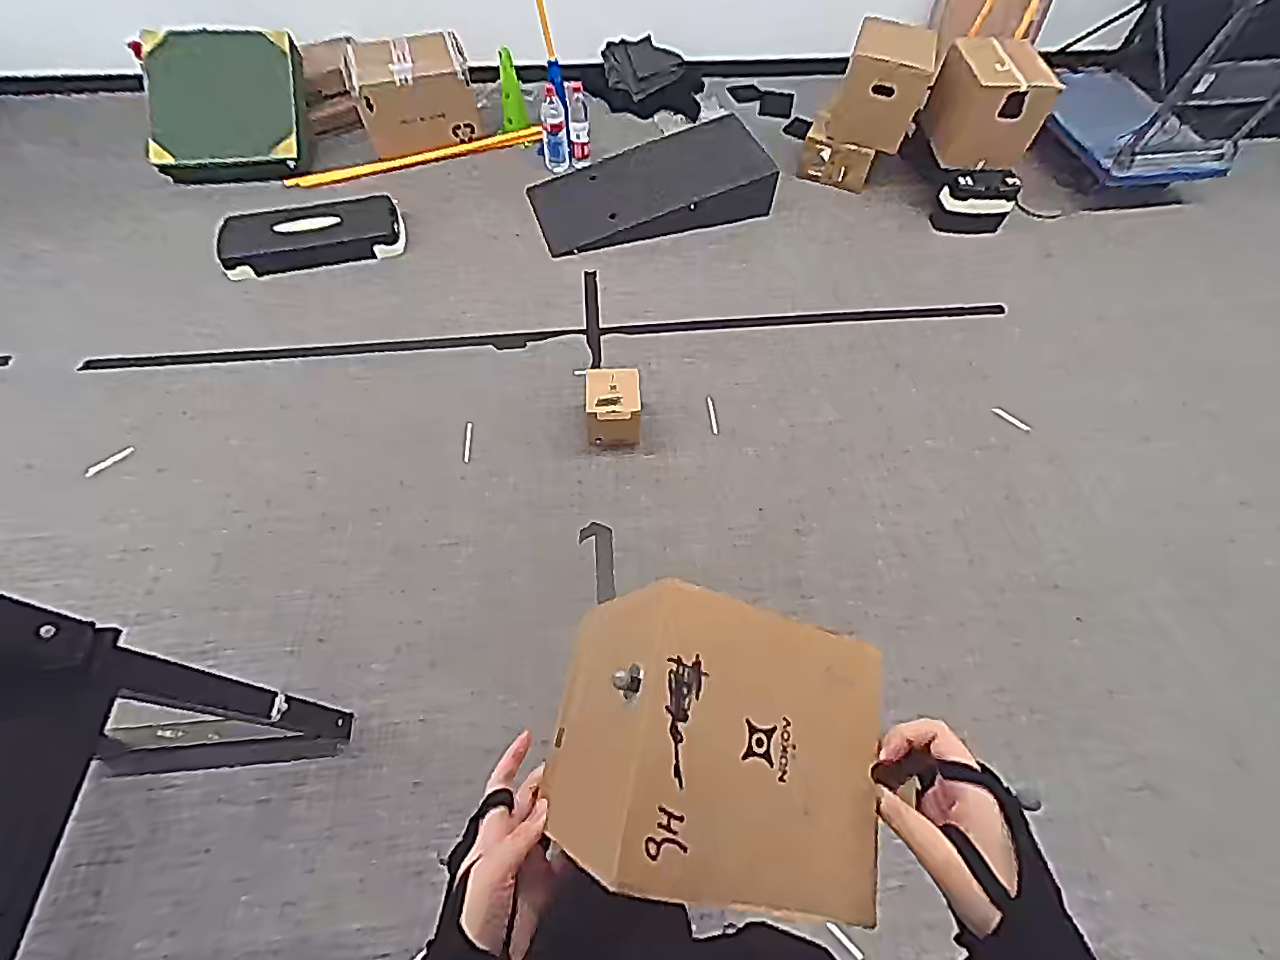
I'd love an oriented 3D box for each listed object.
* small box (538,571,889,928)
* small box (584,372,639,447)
[{"bbox_3d":[0.048,0.183,0.390,0.179,0.176,0.168,23,61,-17],"label":"small box"},{"bbox_3d":[-0.088,-0.217,1.703,0.168,0.176,0.179,-2,58,-3],"label":"small box"}]
